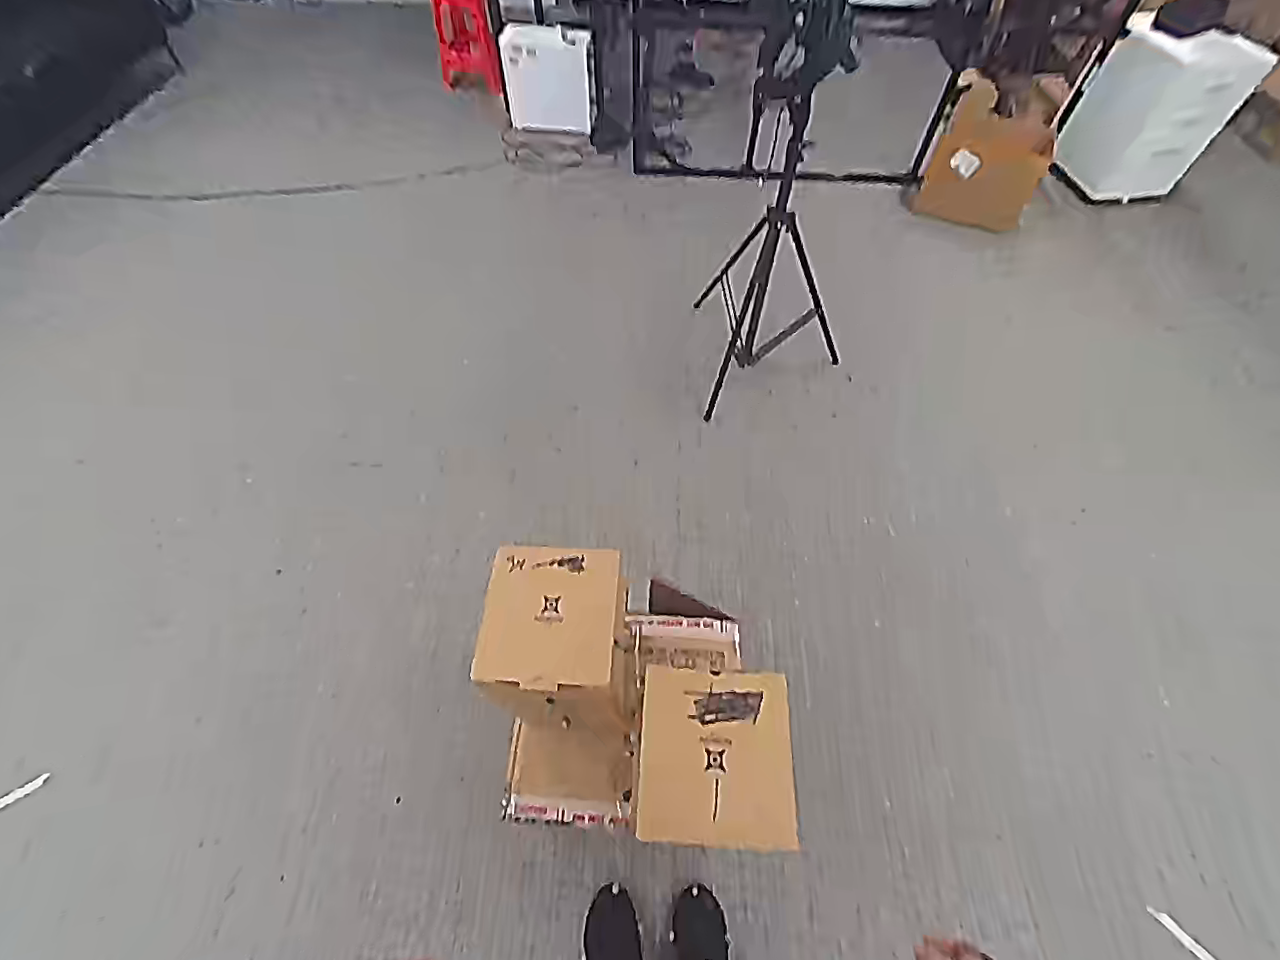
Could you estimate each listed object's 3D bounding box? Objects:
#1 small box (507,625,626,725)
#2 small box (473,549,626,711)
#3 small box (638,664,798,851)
[{"bbox_3d":[-0.110,0.291,0.883,0.168,0.176,0.179,0,58,2],"label":"small box"},{"bbox_3d":[-0.108,0.210,0.740,0.168,0.176,0.179,2,58,3],"label":"small box"},{"bbox_3d":[0.085,0.338,0.659,0.168,0.176,0.179,3,58,2],"label":"small box"}]
